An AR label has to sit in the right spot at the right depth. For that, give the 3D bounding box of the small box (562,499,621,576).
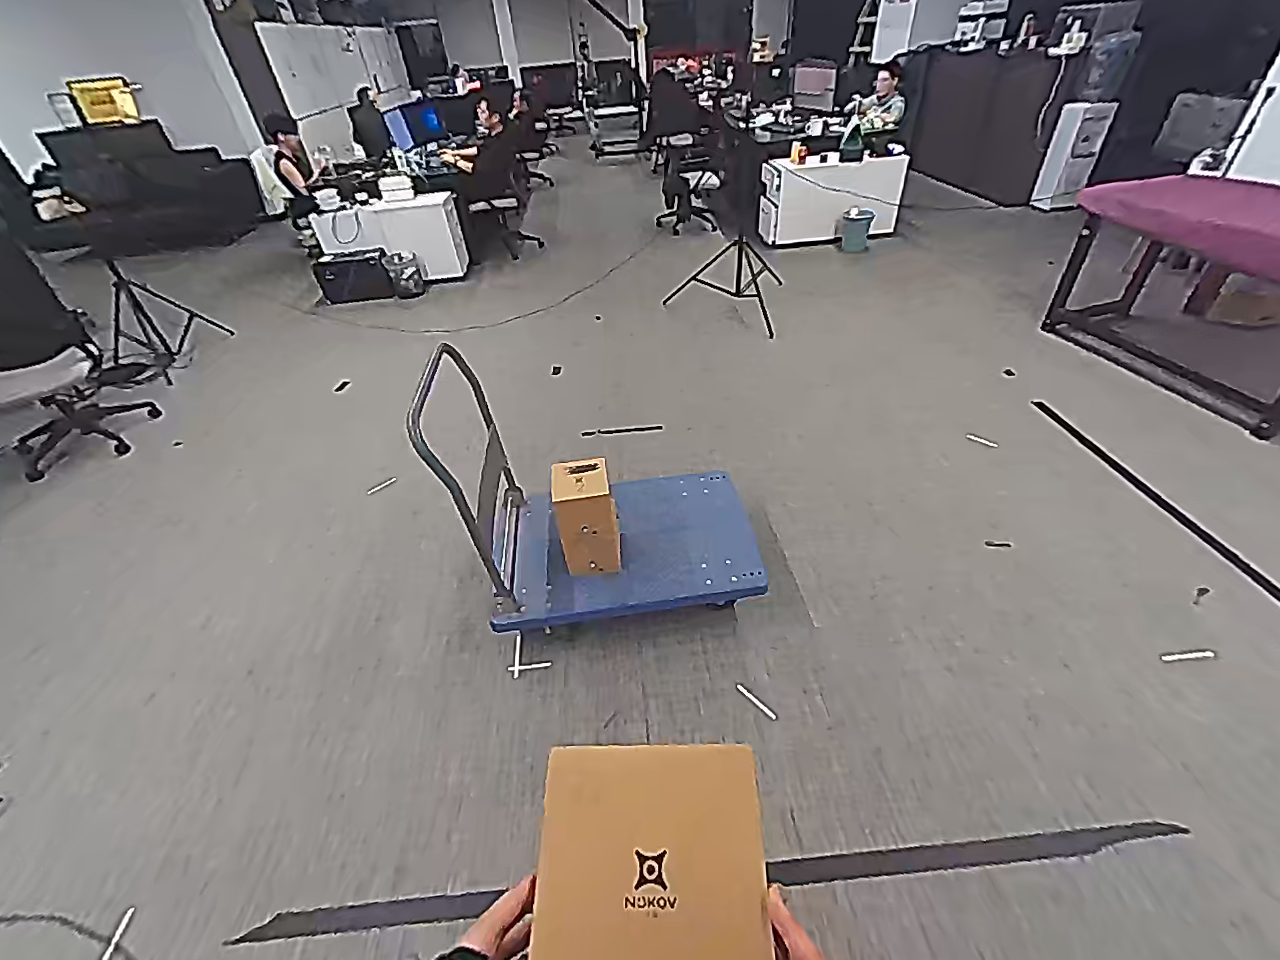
[{"bbox_3d":[-0.152,0.186,1.749,0.168,0.176,0.179,-6,40,1],"label":"small box"}]
